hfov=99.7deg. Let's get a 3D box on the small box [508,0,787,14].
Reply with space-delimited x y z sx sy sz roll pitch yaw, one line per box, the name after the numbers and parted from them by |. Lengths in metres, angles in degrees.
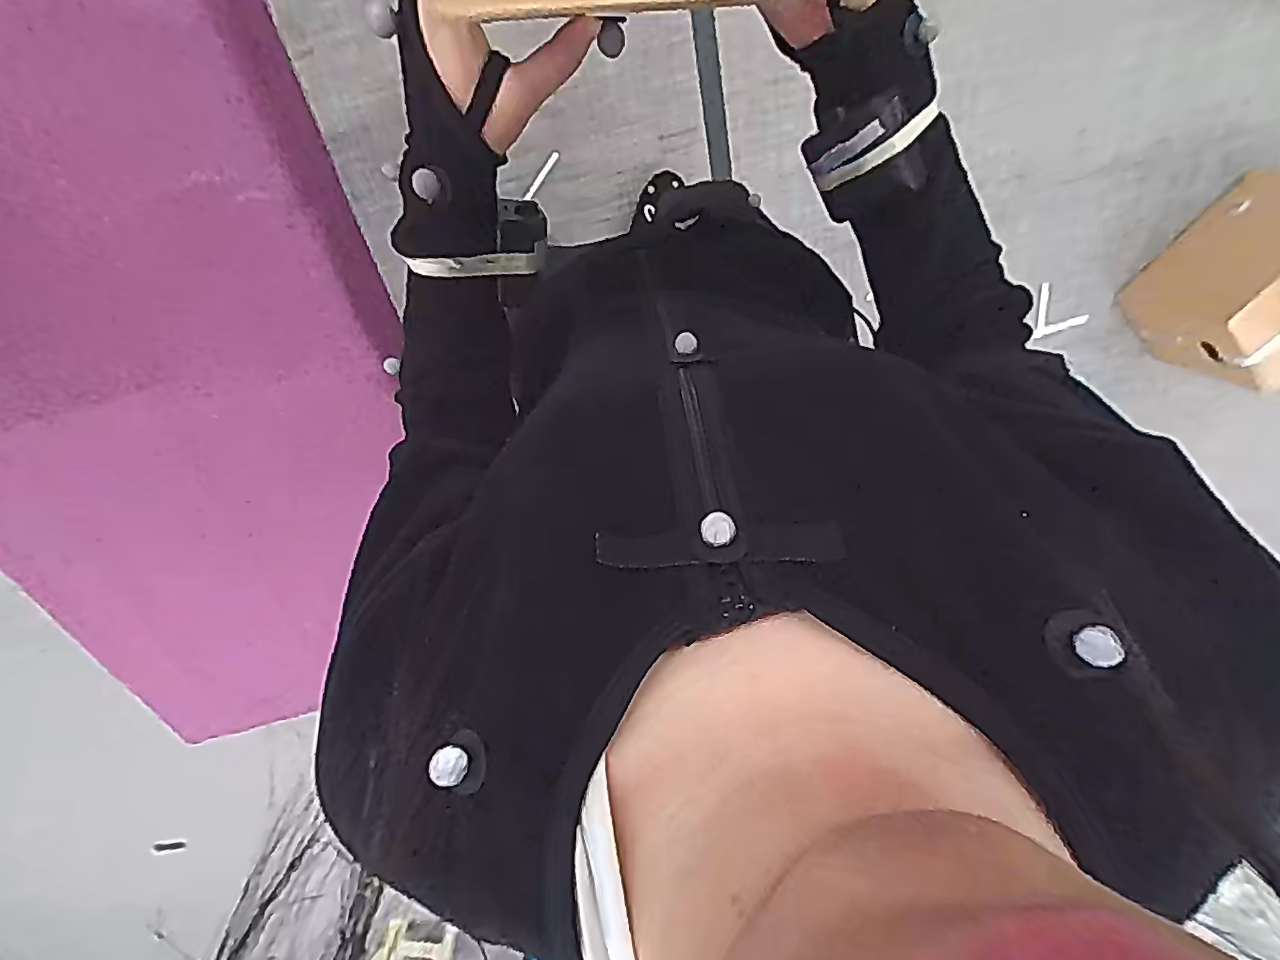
0.005 -0.297 0.205 0.168 0.176 0.179 -6 131 -3 | small box
